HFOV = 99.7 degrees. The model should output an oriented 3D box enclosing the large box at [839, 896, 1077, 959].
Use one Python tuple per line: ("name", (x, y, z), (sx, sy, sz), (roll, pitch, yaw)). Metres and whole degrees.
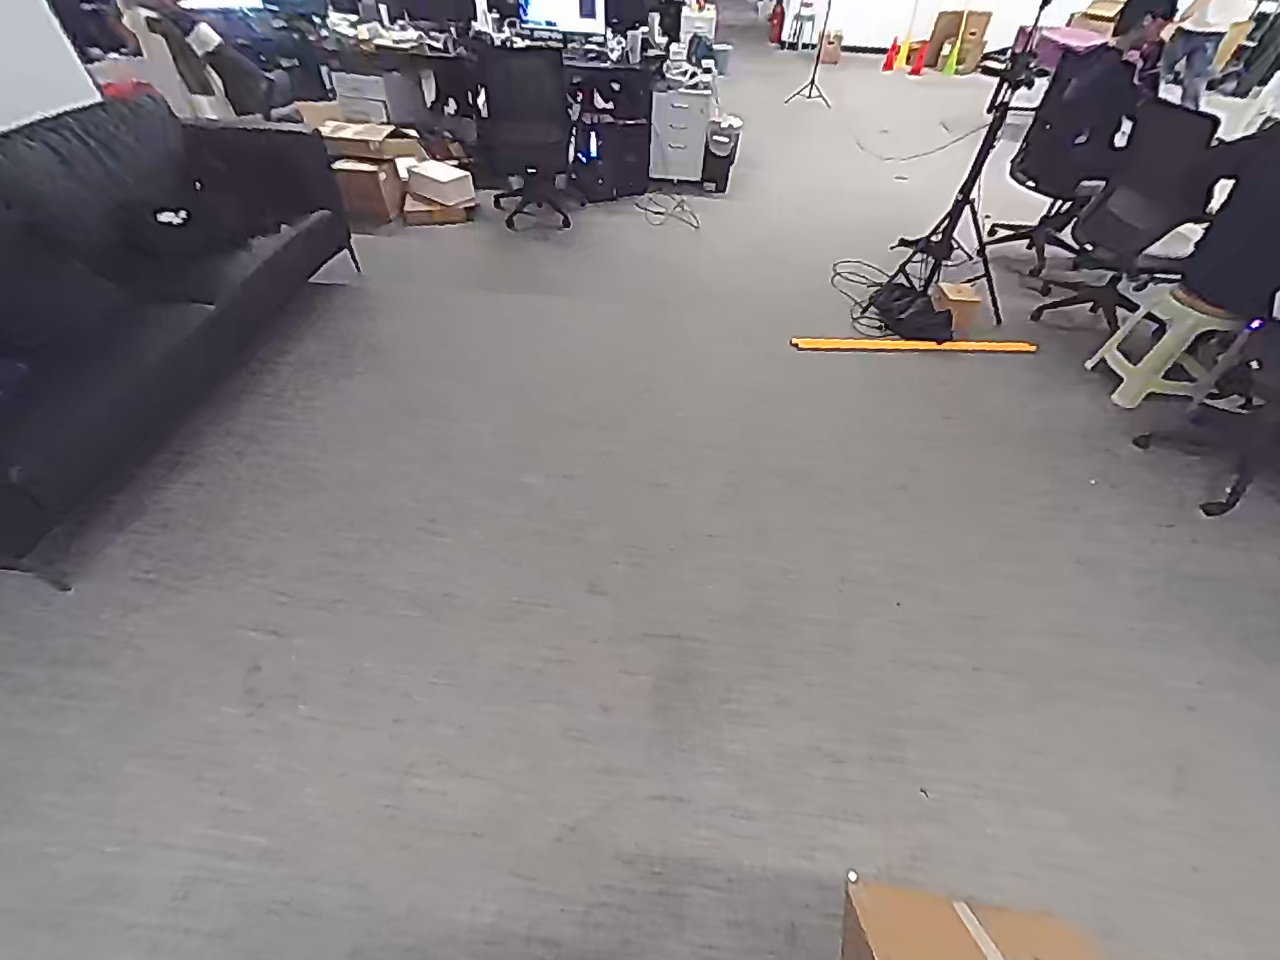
("large box", (0.418, 0.775, 0.594), (0.320, 0.408, 0.320), (7, 84, 8))
